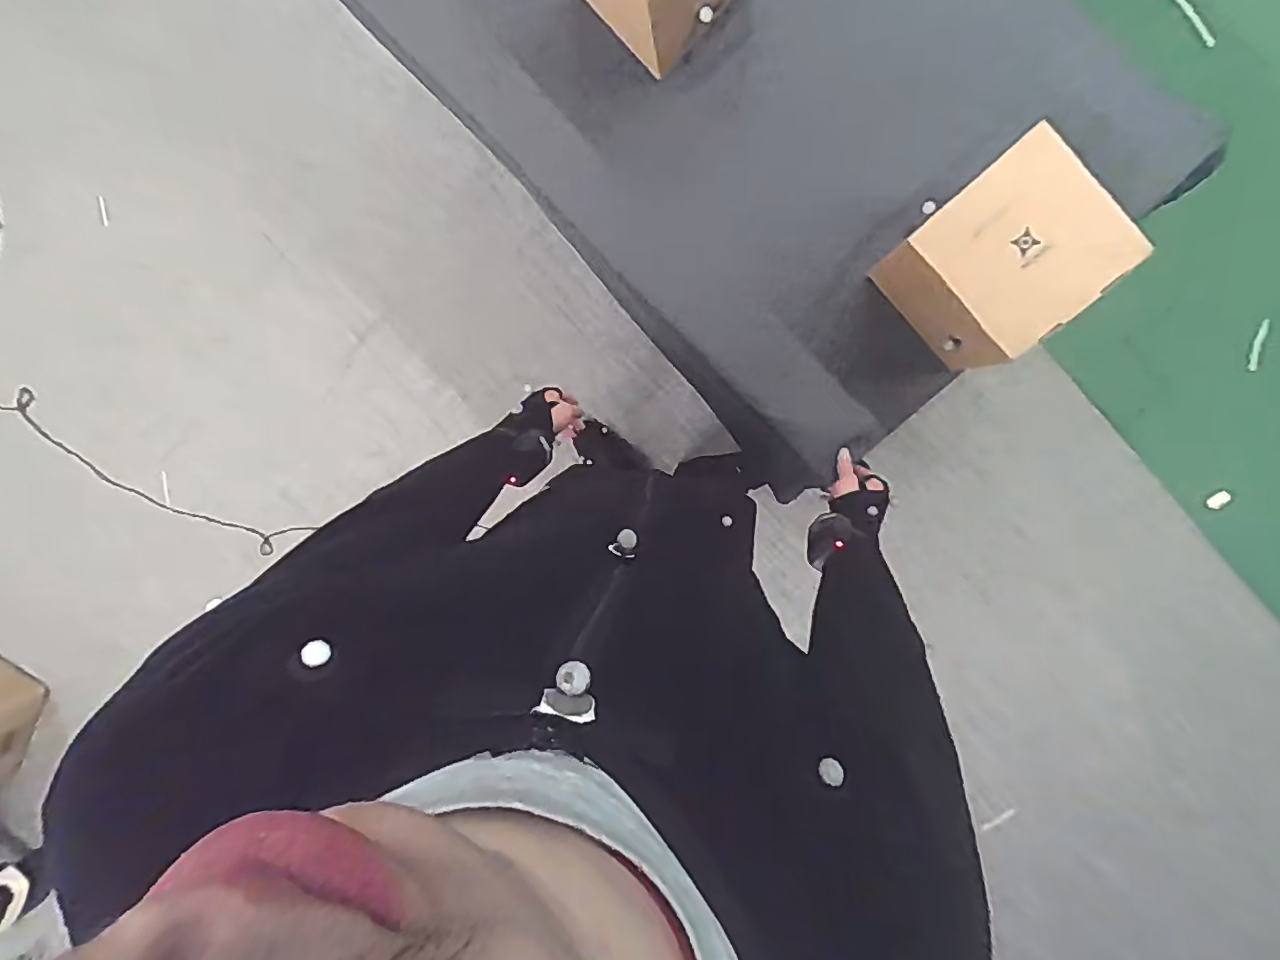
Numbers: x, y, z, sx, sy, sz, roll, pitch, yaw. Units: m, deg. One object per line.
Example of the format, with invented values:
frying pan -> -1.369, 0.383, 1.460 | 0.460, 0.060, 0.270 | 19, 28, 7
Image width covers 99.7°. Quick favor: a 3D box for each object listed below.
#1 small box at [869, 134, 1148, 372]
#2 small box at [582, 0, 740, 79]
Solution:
small box -> 0.405, -0.243, 0.632 | 0.168, 0.176, 0.179 | -42, 89, 11
small box -> 0.015, -0.632, 0.632 | 0.168, 0.176, 0.179 | -43, 92, 13
